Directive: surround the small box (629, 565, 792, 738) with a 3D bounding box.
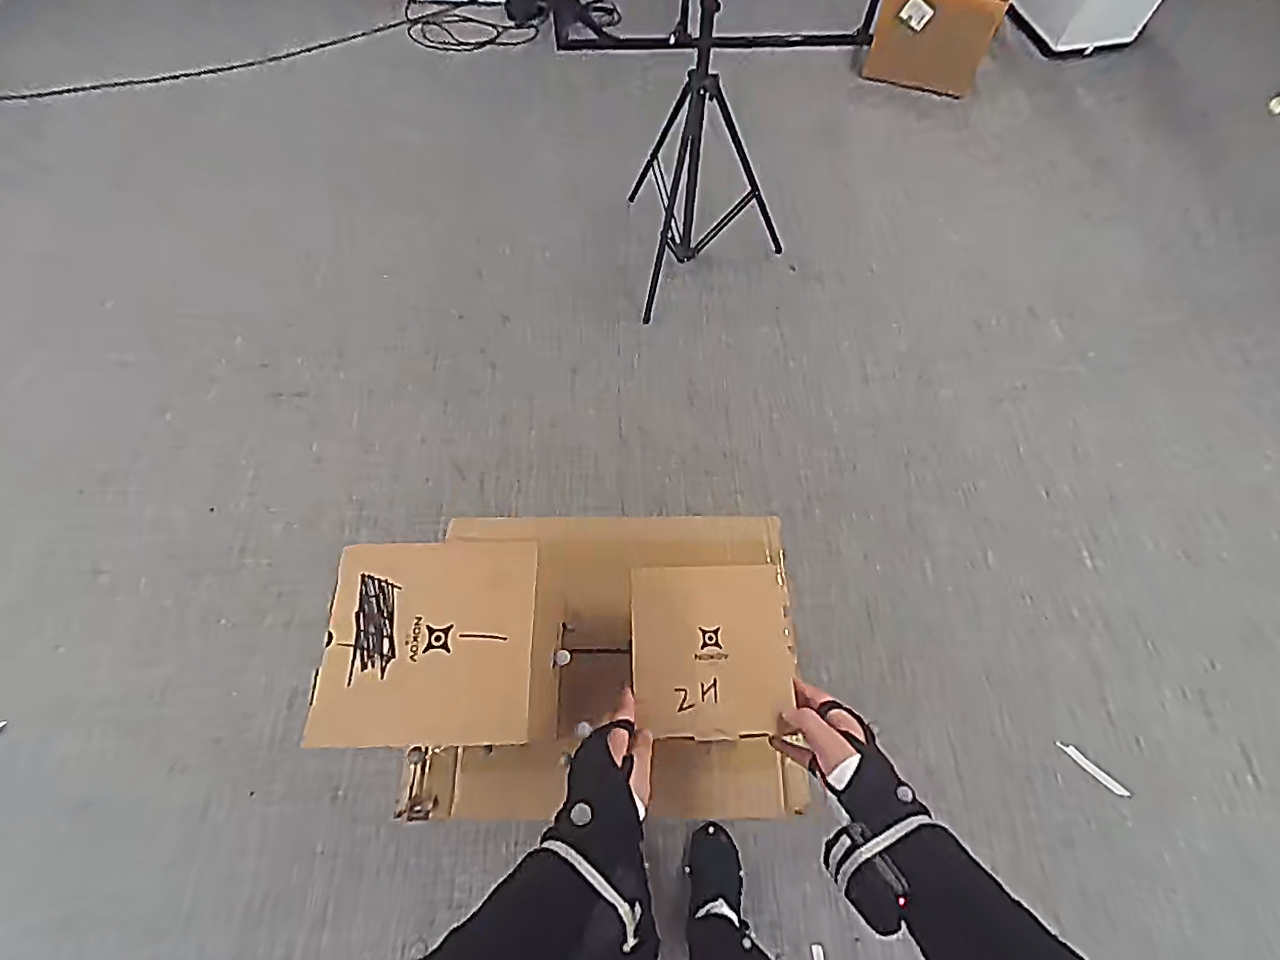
[{"bbox_3d":[0.071,0.211,0.649,0.168,0.176,0.179,-2,65,0],"label":"small box"}]

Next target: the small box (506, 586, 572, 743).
[{"bbox_3d":[-0.179,0.232,0.680,0.168,0.176,0.179,-1,67,0],"label":"small box"}]

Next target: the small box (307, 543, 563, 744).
[{"bbox_3d":[-0.177,0.166,0.529,0.179,0.176,0.168,-1,66,-1],"label":"small box"}]
